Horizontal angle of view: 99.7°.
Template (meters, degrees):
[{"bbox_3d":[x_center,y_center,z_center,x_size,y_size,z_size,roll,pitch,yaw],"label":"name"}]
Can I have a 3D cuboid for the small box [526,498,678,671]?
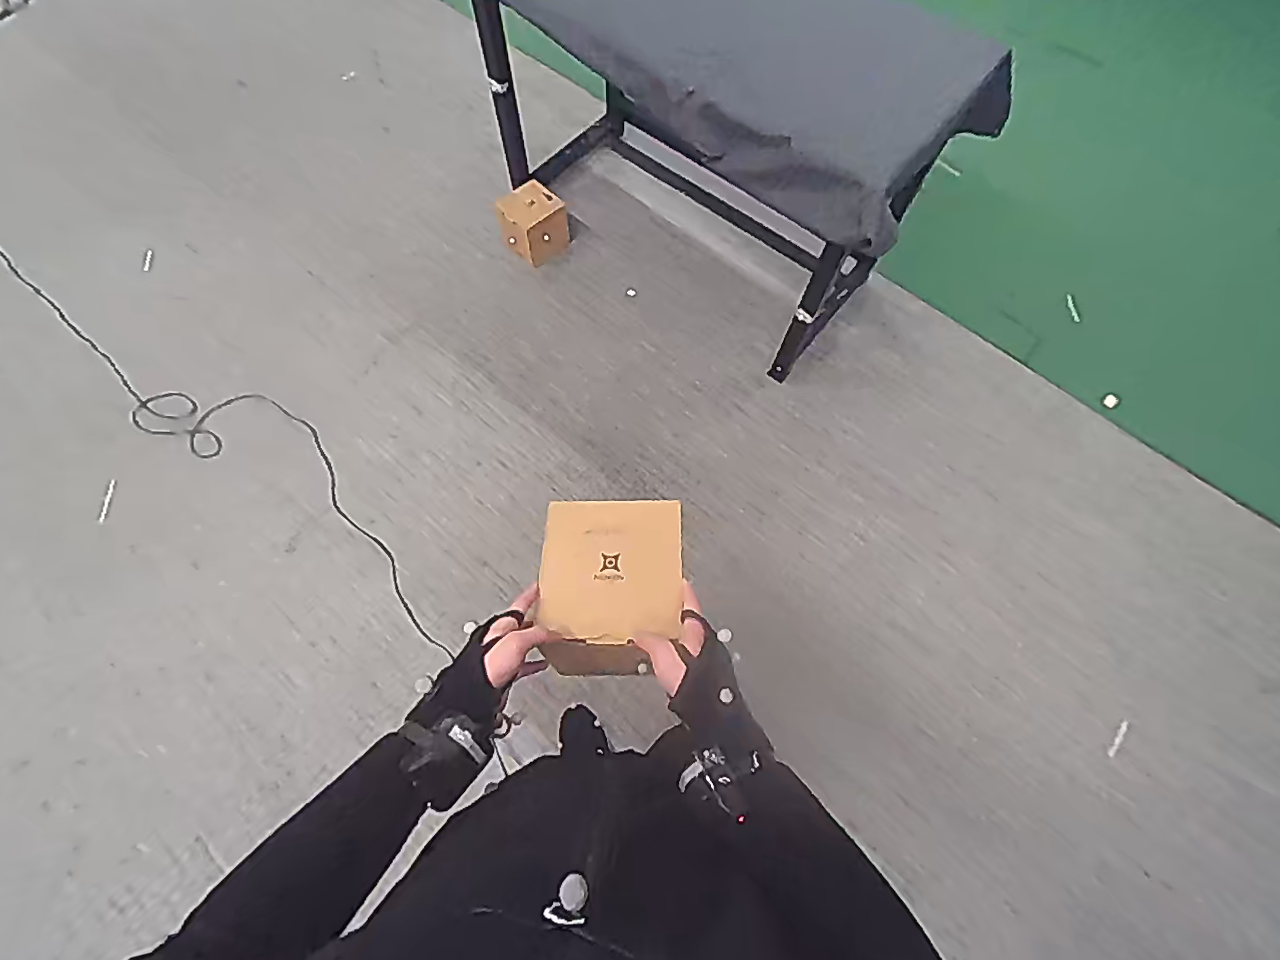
[{"bbox_3d":[-0.037,0.140,0.692,0.168,0.176,0.179,-2,56,3],"label":"small box"}]
